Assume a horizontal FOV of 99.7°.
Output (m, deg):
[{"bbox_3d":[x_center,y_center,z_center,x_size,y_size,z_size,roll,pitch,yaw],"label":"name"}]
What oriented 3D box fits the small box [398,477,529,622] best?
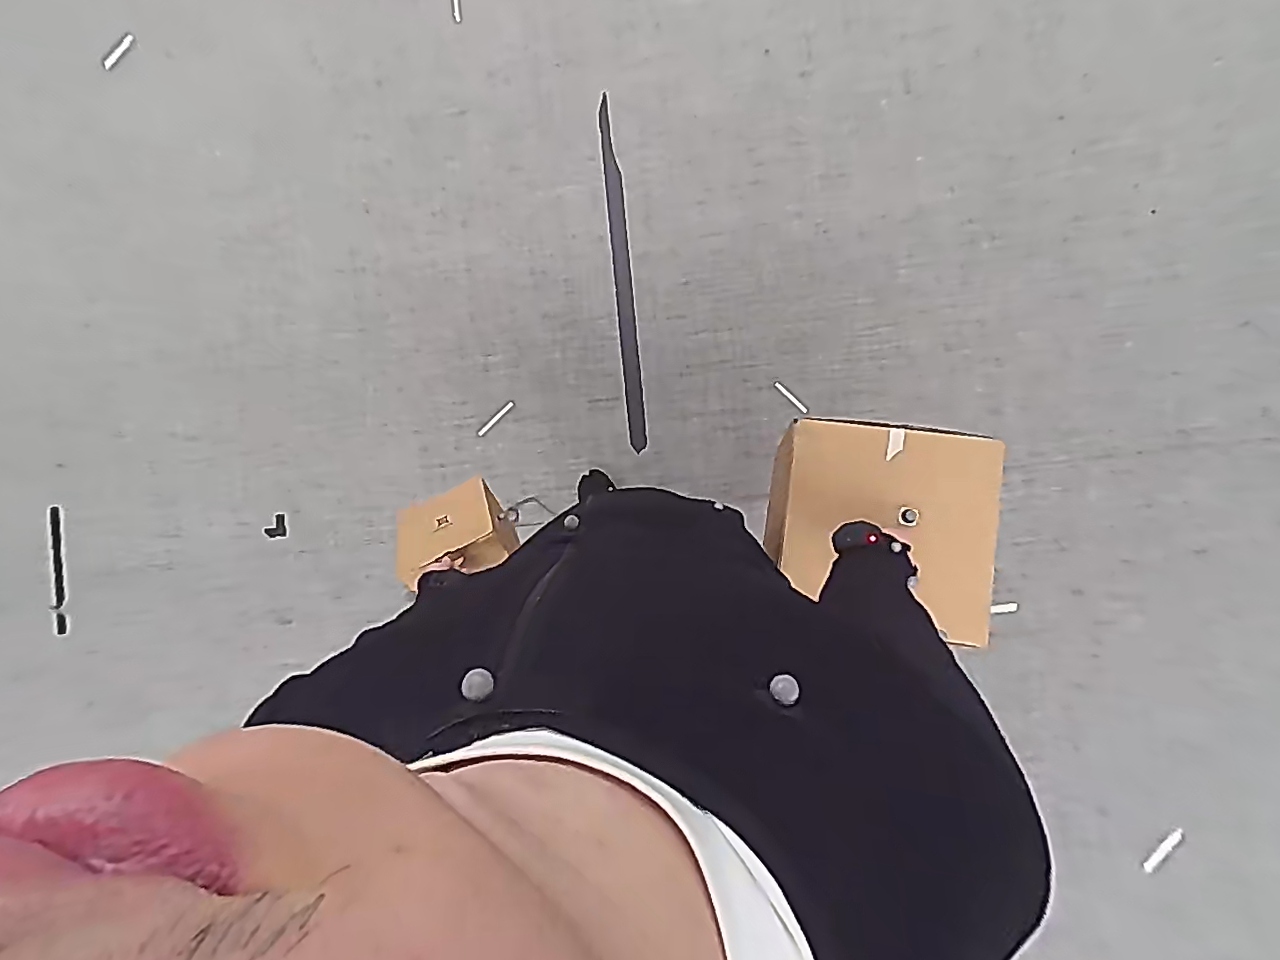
[{"bbox_3d":[-0.320,0.133,0.988,0.168,0.179,0.176,-25,131,-7],"label":"small box"}]
